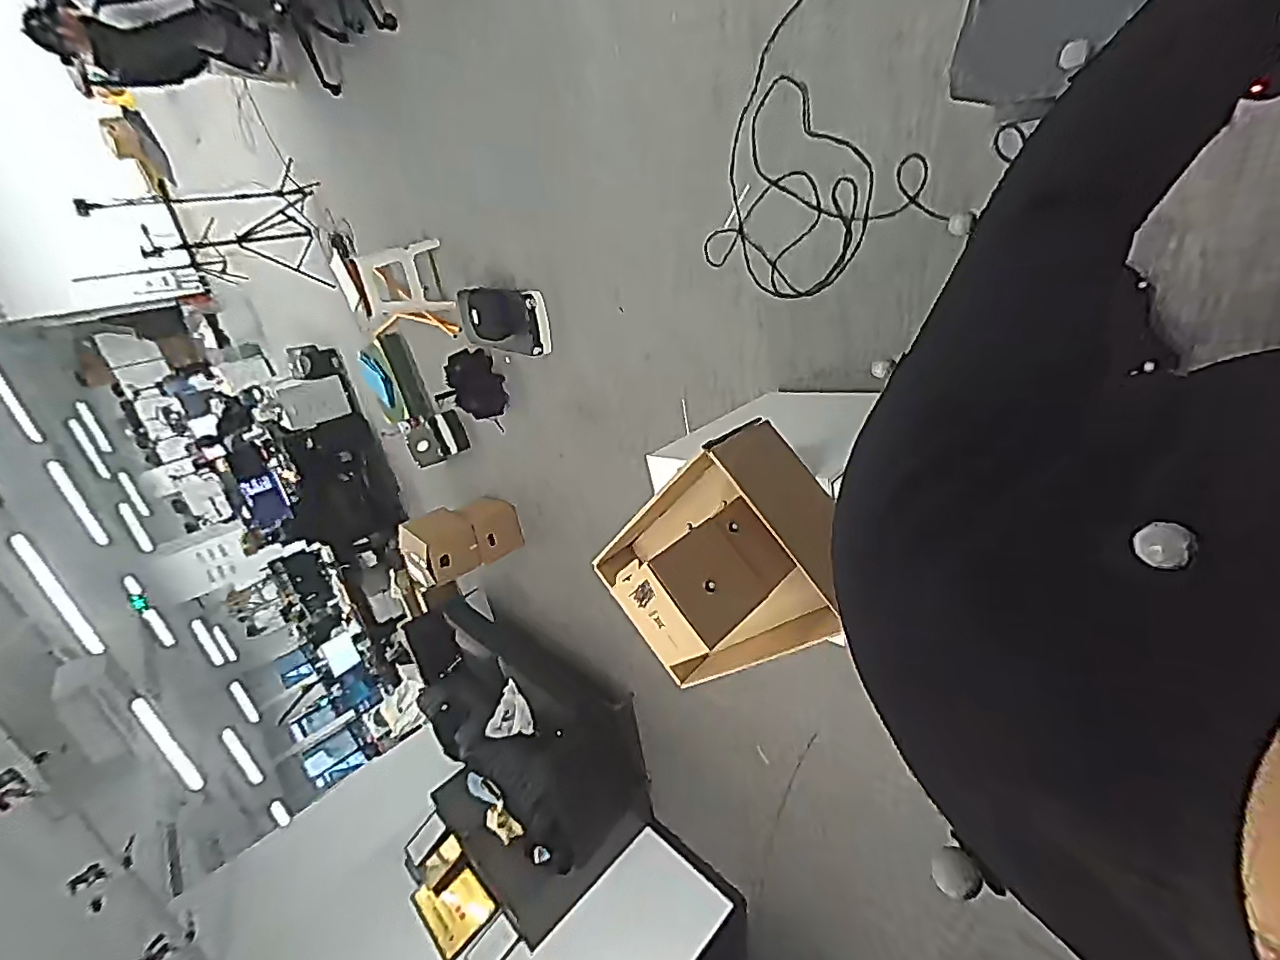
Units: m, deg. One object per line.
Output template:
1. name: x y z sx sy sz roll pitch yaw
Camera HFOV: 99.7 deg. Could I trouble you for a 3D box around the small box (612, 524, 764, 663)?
1. small box: 0.086 0.200 0.984 0.179 0.176 0.168 54 145 8
